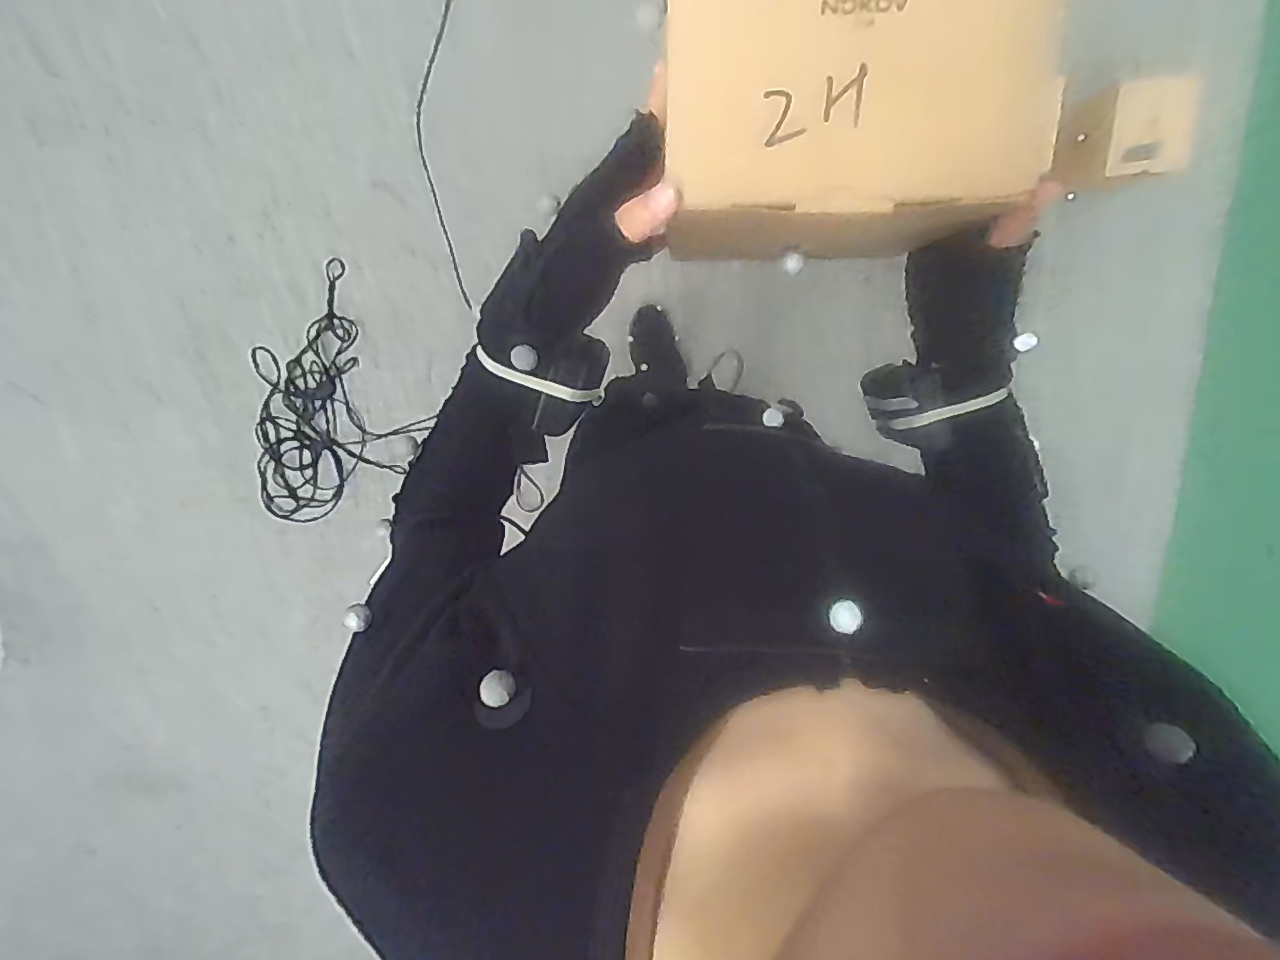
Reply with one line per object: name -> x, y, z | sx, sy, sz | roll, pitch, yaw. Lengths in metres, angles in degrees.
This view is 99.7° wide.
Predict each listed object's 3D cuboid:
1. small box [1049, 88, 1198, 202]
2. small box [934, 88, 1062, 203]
small box -> 1.044, -0.722, 1.185 | 0.168, 0.176, 0.179 | -1, 103, 2
small box -> 0.775, -0.728, 1.192 | 0.168, 0.176, 0.179 | -1, 105, 2
